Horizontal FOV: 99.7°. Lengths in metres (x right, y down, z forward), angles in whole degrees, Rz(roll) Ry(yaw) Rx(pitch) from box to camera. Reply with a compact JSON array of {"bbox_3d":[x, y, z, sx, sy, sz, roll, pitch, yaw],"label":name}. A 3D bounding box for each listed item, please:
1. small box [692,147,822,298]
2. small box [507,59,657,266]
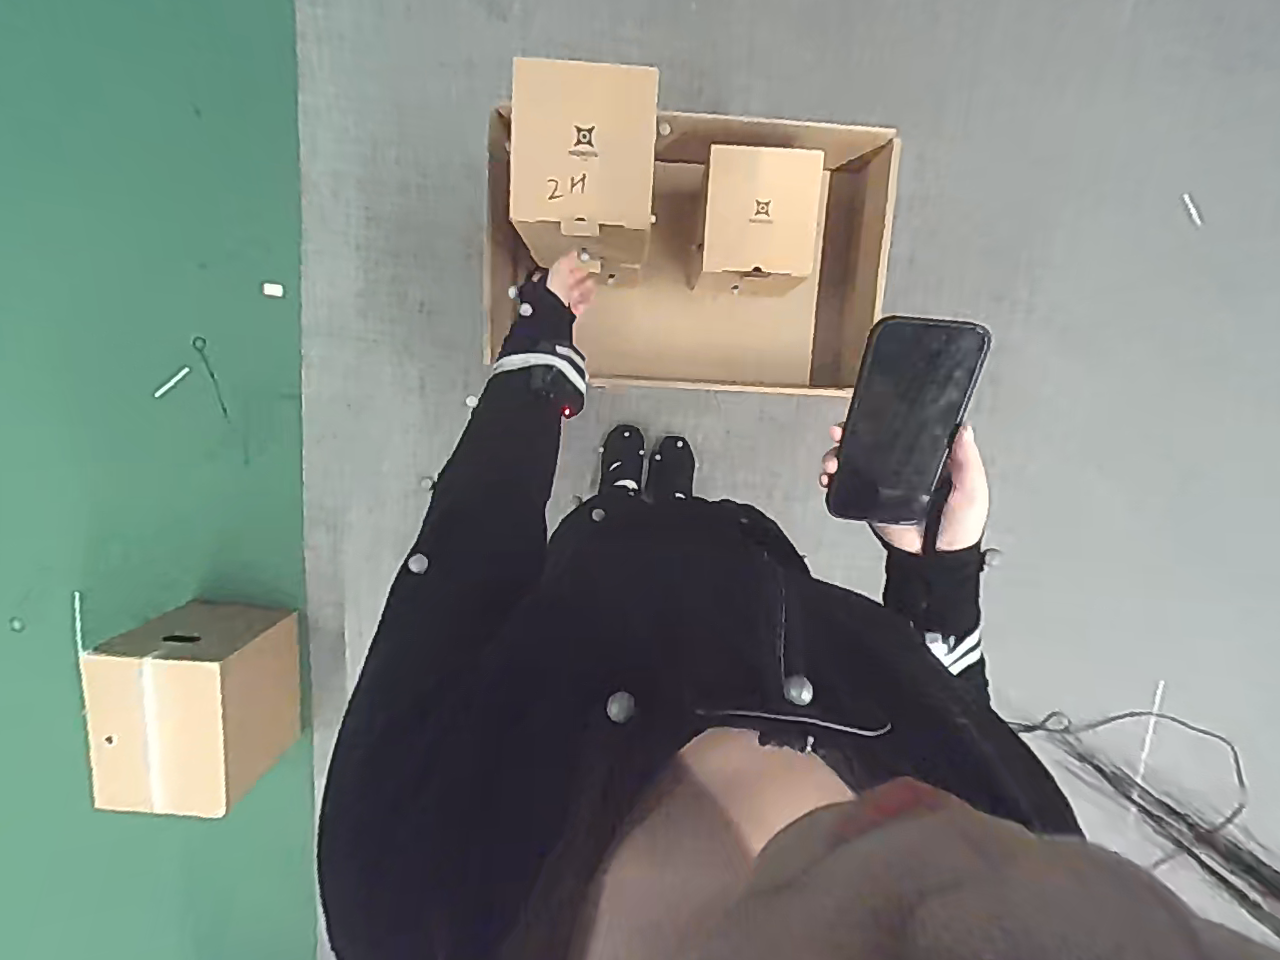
[{"bbox_3d":[0.176,-0.400,0.866,0.168,0.176,0.179,3,100,0],"label":"small box"},{"bbox_3d":[-0.070,-0.393,0.699,0.168,0.176,0.179,4,99,-1],"label":"small box"}]
